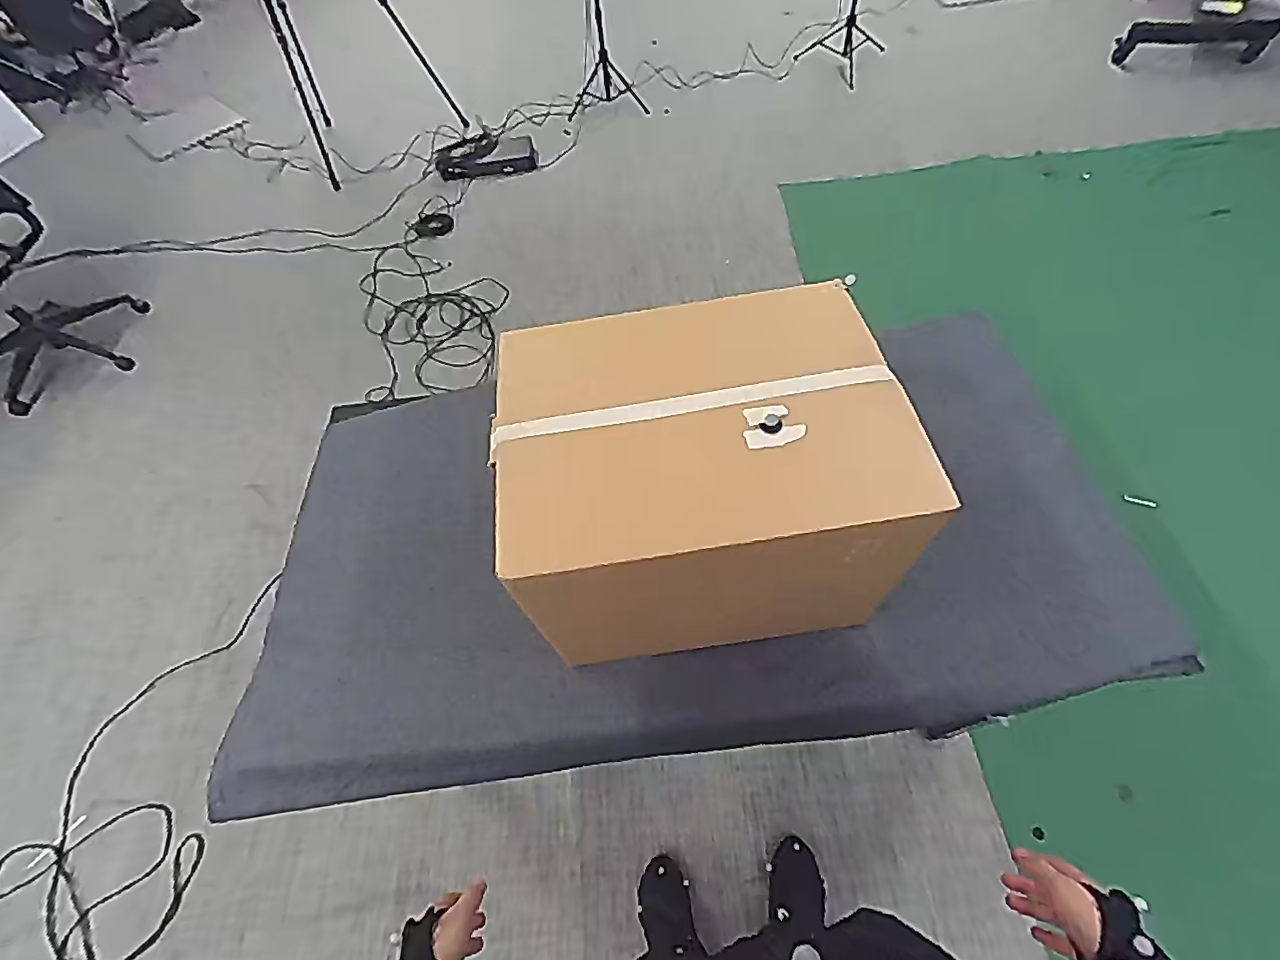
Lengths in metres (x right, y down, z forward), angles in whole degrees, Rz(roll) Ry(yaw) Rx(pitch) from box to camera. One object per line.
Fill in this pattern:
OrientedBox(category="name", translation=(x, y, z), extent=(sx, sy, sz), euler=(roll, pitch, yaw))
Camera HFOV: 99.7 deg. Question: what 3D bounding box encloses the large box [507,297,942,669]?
OrientedBox(category="large box", translation=(0.069, 0.019, 0.687), extent=(0.408, 0.320, 0.320), euler=(-9, 57, 0))
